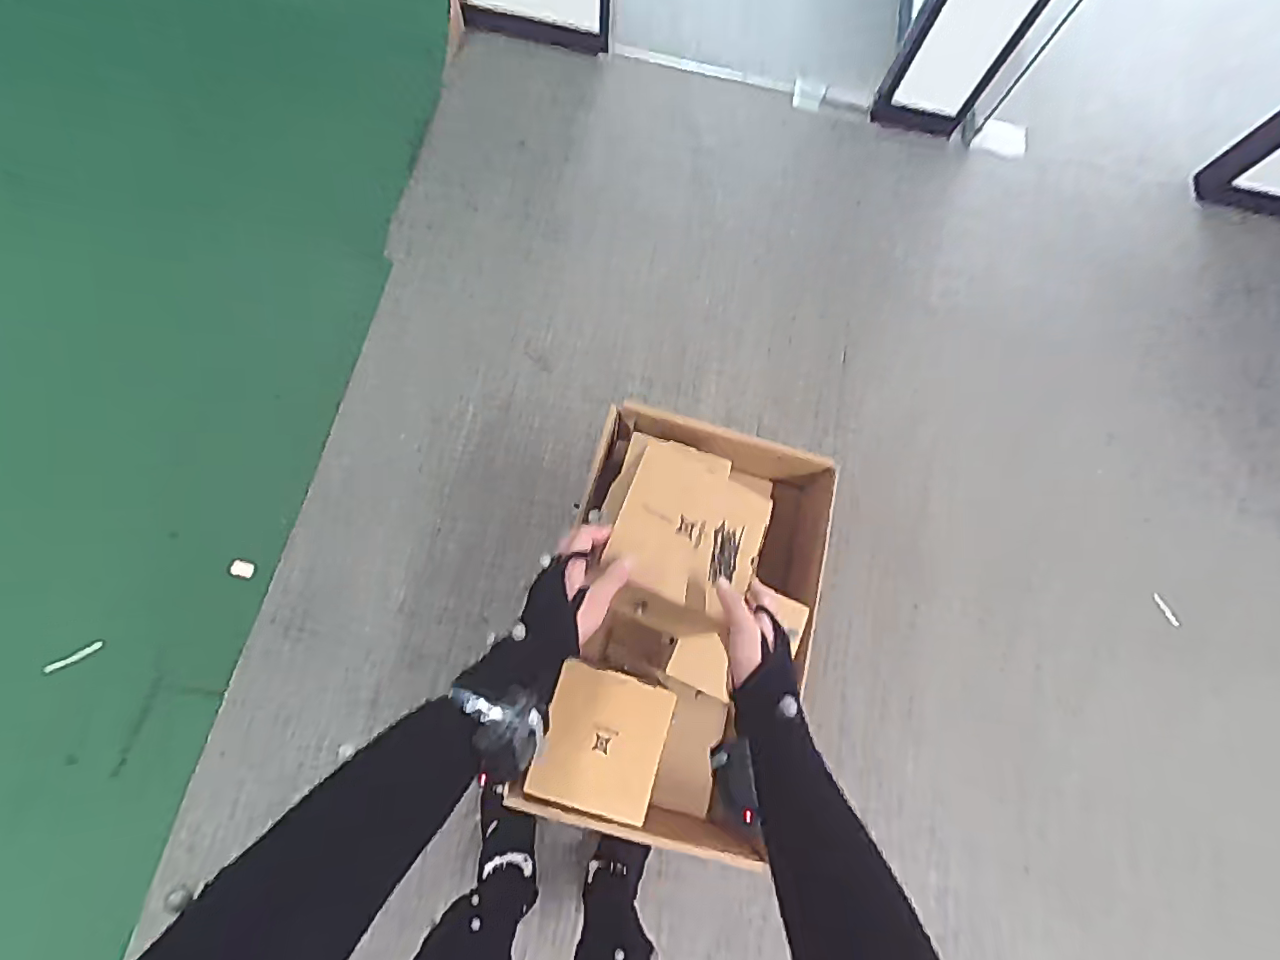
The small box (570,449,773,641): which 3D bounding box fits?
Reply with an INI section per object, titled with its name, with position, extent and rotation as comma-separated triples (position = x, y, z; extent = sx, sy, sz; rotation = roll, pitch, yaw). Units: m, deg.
[small box]
position = 0.033, 0.092, 0.678
extent = 0.179, 0.176, 0.168
rotation = 27, 65, -8
